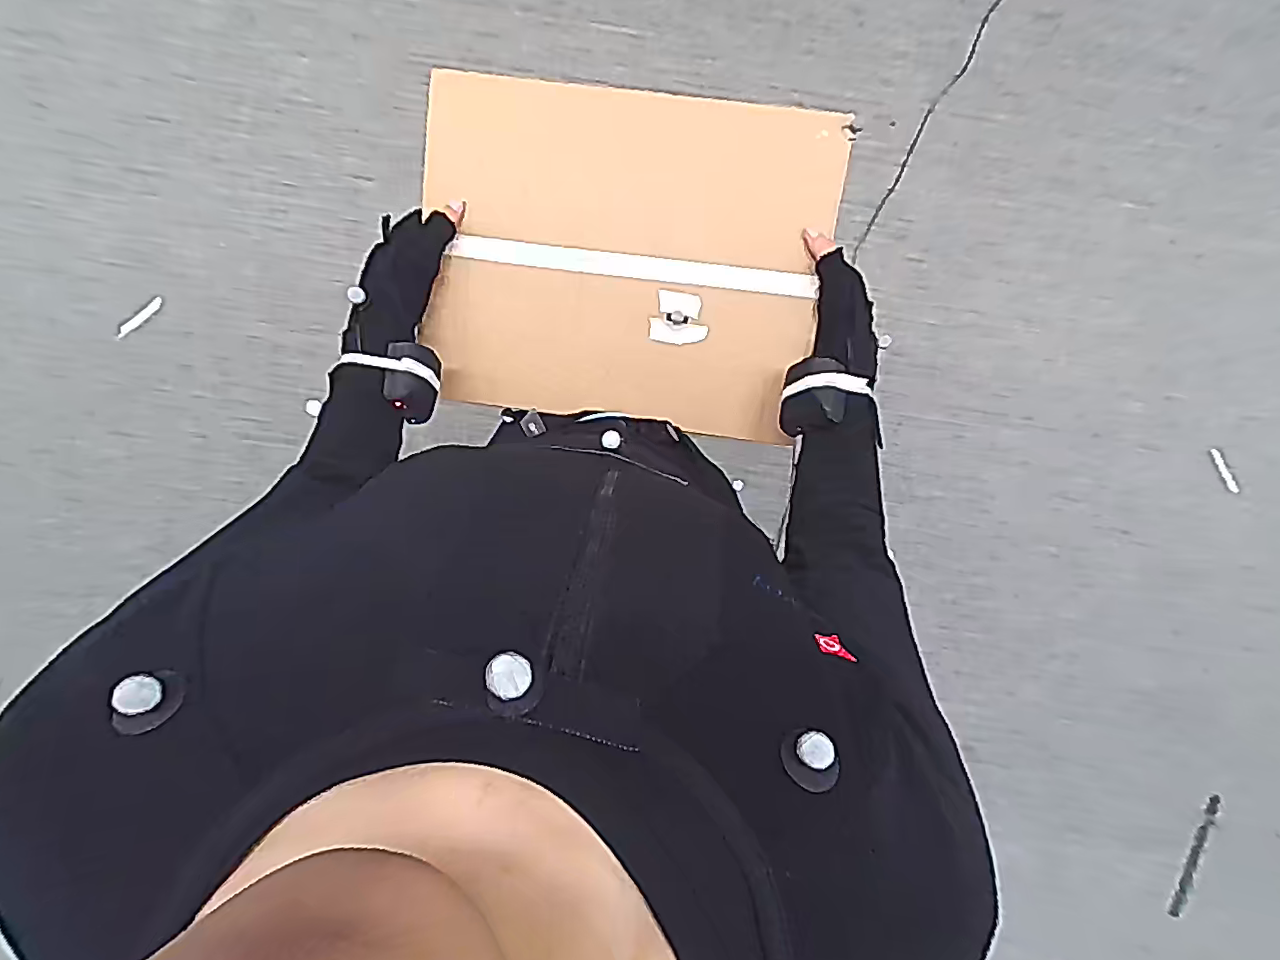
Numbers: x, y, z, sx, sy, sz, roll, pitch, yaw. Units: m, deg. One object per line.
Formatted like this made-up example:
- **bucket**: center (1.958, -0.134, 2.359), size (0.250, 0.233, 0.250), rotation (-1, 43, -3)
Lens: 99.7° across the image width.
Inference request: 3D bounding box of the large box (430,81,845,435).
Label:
- **large box**: center (-0.010, -0.248, 0.698), size (0.408, 0.320, 0.320), rotation (8, 103, 2)
